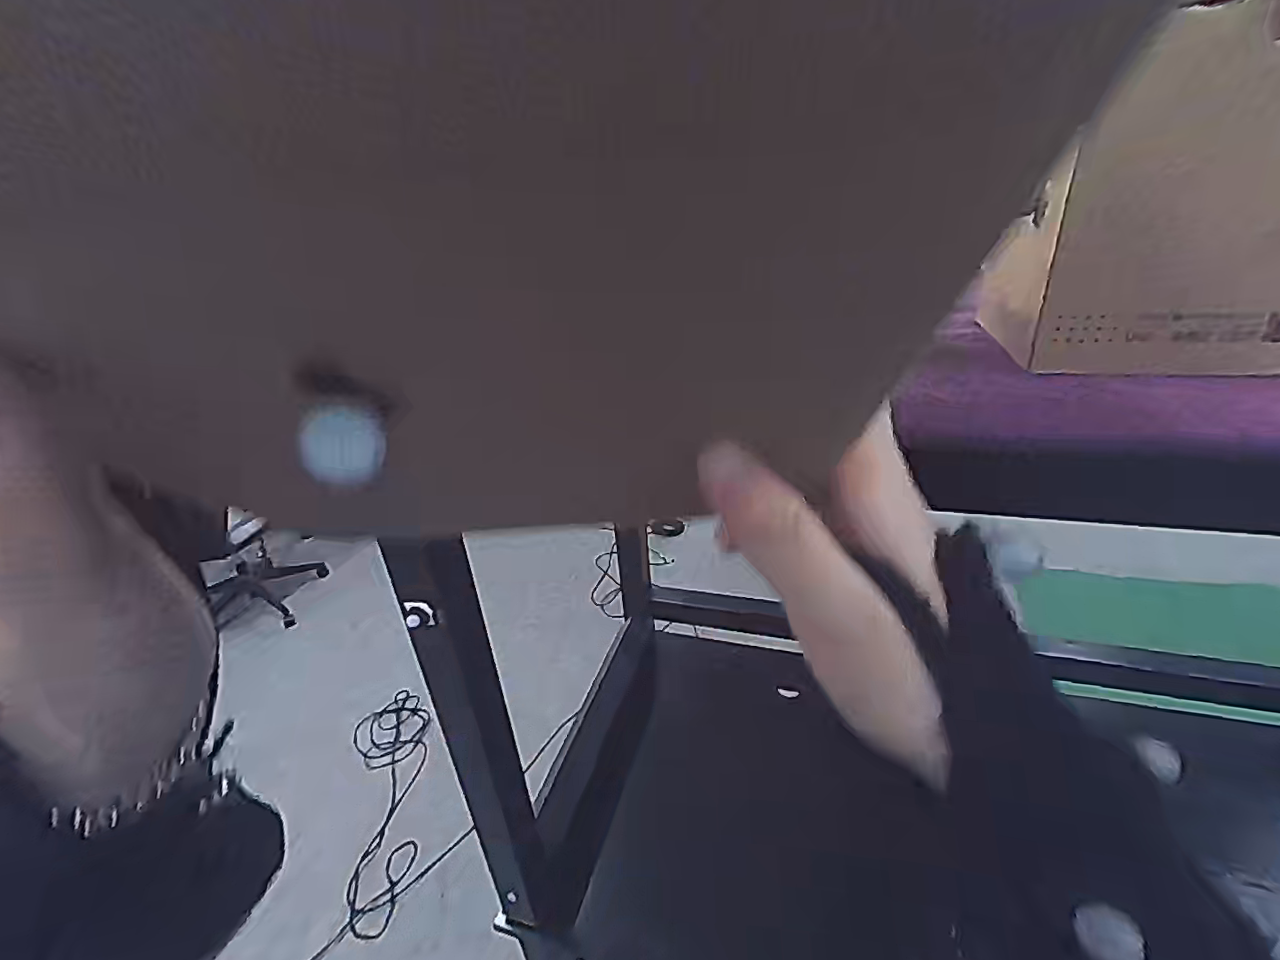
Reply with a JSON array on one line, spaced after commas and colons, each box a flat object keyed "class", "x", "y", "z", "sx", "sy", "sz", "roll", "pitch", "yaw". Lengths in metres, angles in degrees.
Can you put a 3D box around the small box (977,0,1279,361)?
[{"class": "small box", "x": 0.321, "y": -0.170, "z": 0.318, "sx": 0.168, "sy": 0.176, "sz": 0.179, "roll": 5, "pitch": 27, "yaw": 19}]
